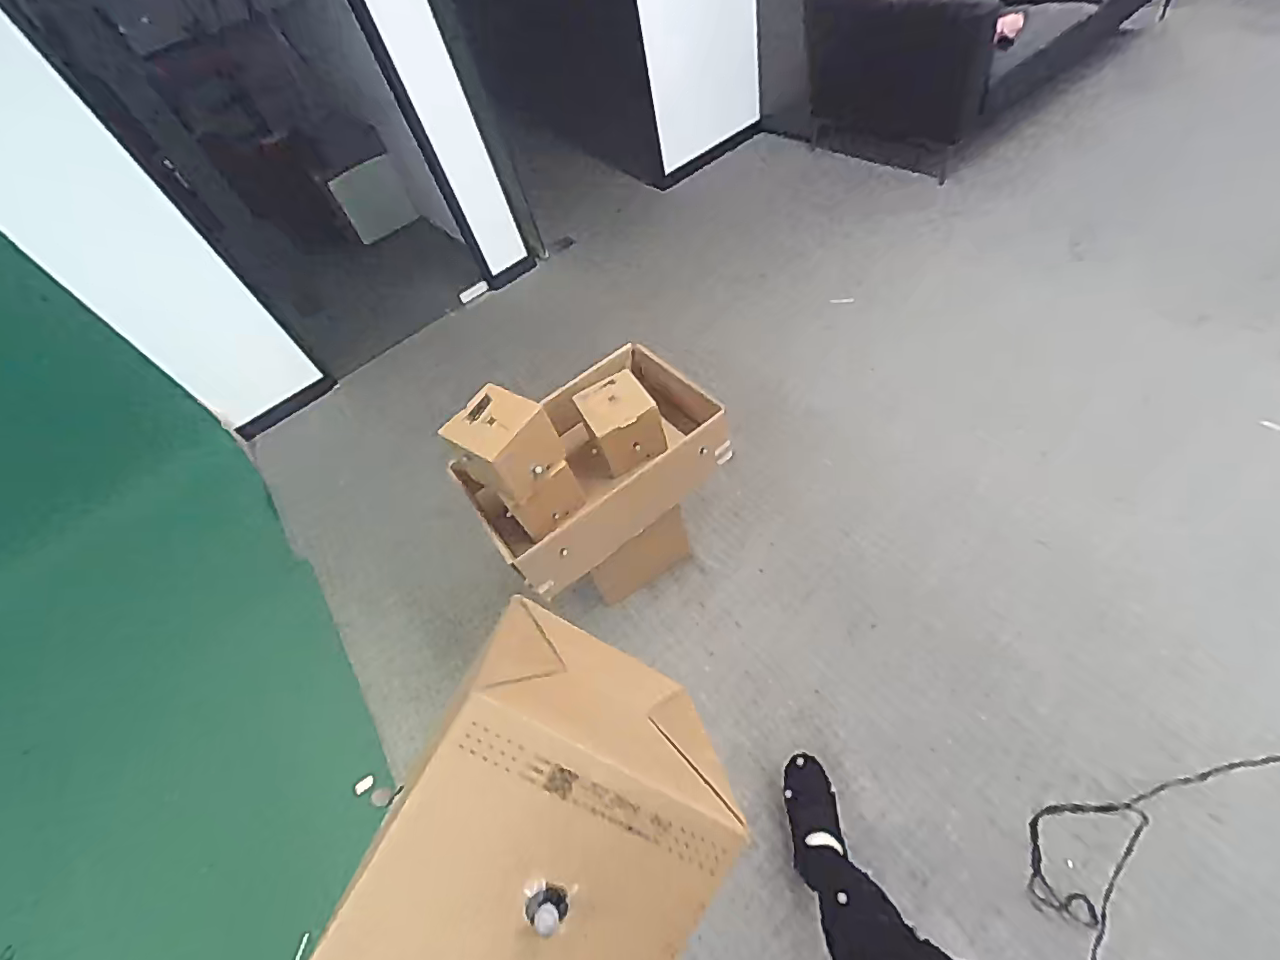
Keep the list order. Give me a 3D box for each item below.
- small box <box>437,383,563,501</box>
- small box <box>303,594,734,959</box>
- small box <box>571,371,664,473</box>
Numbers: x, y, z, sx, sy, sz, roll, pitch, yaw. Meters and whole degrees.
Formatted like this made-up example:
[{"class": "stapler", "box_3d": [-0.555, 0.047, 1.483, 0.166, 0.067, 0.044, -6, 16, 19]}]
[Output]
[{"class": "small box", "box_3d": [-0.303, -0.080, 1.198, 0.179, 0.176, 0.168, 26, 64, 29]}, {"class": "small box", "box_3d": [-0.062, 0.197, 0.352, 0.168, 0.179, 0.176, 33, 90, -8]}, {"class": "small box", "box_3d": [-0.053, -0.140, 1.391, 0.168, 0.176, 0.179, -27, 52, -8]}]
